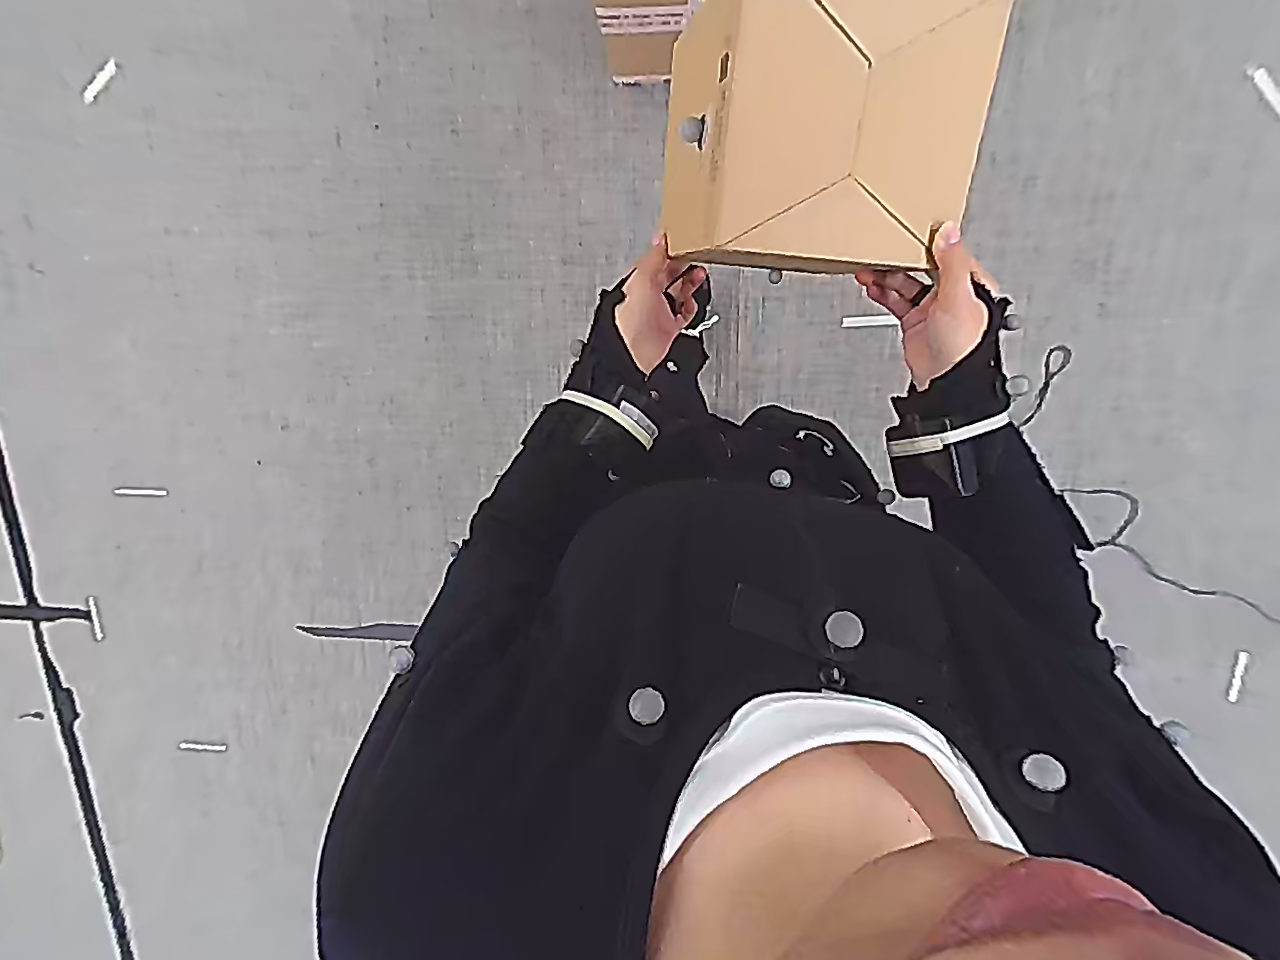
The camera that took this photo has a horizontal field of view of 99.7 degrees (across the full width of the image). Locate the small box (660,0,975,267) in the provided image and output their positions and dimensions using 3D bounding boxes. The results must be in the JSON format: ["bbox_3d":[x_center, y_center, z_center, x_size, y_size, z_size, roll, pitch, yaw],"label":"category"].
[{"bbox_3d":[0.123,-0.259,0.422,0.179,0.176,0.168,0,109,-13],"label":"small box"}]
